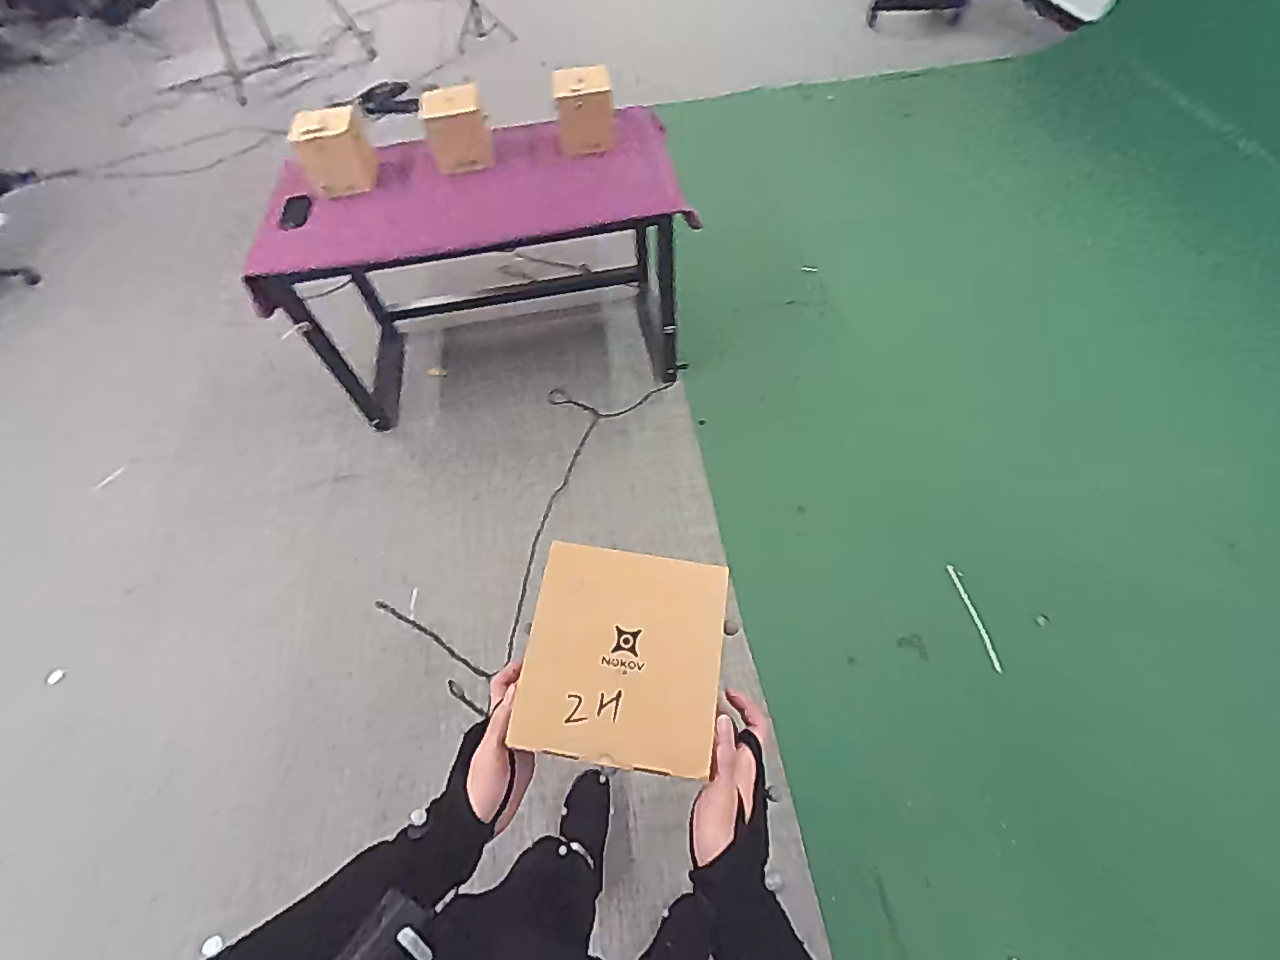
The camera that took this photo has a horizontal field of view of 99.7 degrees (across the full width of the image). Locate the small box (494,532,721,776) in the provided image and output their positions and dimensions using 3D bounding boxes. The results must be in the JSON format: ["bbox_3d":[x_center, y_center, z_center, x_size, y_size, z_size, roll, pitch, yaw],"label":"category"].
[{"bbox_3d":[-0.022,0.170,0.523,0.168,0.176,0.179,8,66,4],"label":"small box"}]

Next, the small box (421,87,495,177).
[{"bbox_3d":[-0.549,-1.058,1.649,0.168,0.176,0.179,-11,58,-2],"label":"small box"}]

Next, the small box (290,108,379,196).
[{"bbox_3d":[-0.904,-0.973,1.619,0.168,0.176,0.179,-10,56,-2],"label":"small box"}]

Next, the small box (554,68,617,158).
[{"bbox_3d":[-0.166,-1.123,1.659,0.168,0.176,0.179,-9,57,0],"label":"small box"}]
